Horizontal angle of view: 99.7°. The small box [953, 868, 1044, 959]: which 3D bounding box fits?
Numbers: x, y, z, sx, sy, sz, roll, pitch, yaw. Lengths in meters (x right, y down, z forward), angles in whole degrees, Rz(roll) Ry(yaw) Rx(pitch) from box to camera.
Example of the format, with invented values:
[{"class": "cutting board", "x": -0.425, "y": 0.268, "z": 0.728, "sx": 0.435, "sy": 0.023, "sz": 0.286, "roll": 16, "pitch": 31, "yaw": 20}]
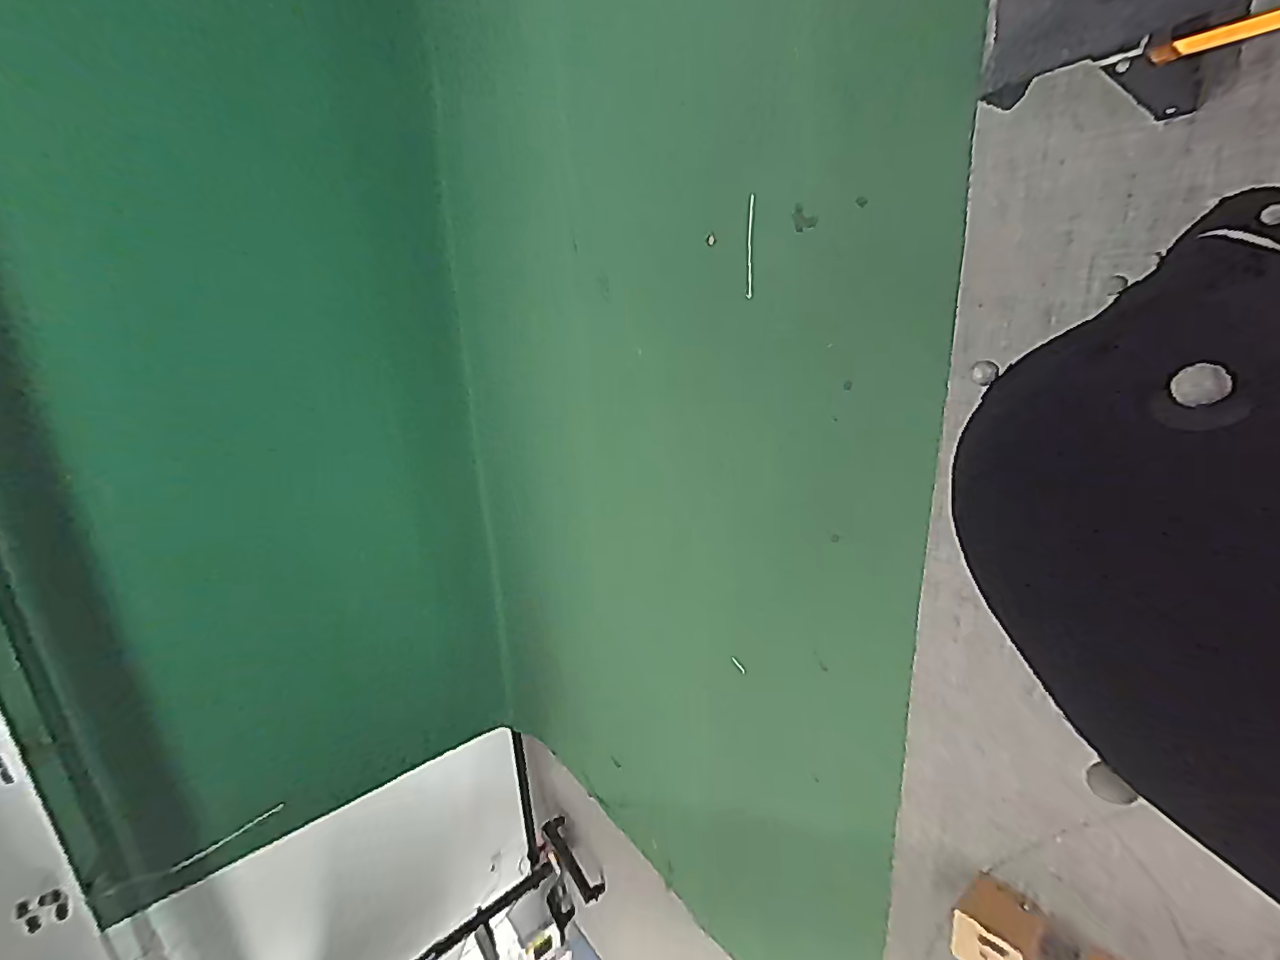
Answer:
[{"class": "small box", "x": 1.019, "y": 1.264, "z": 1.534, "sx": 0.168, "sy": 0.176, "sz": 0.179, "roll": 15, "pitch": 114, "yaw": 50}]
